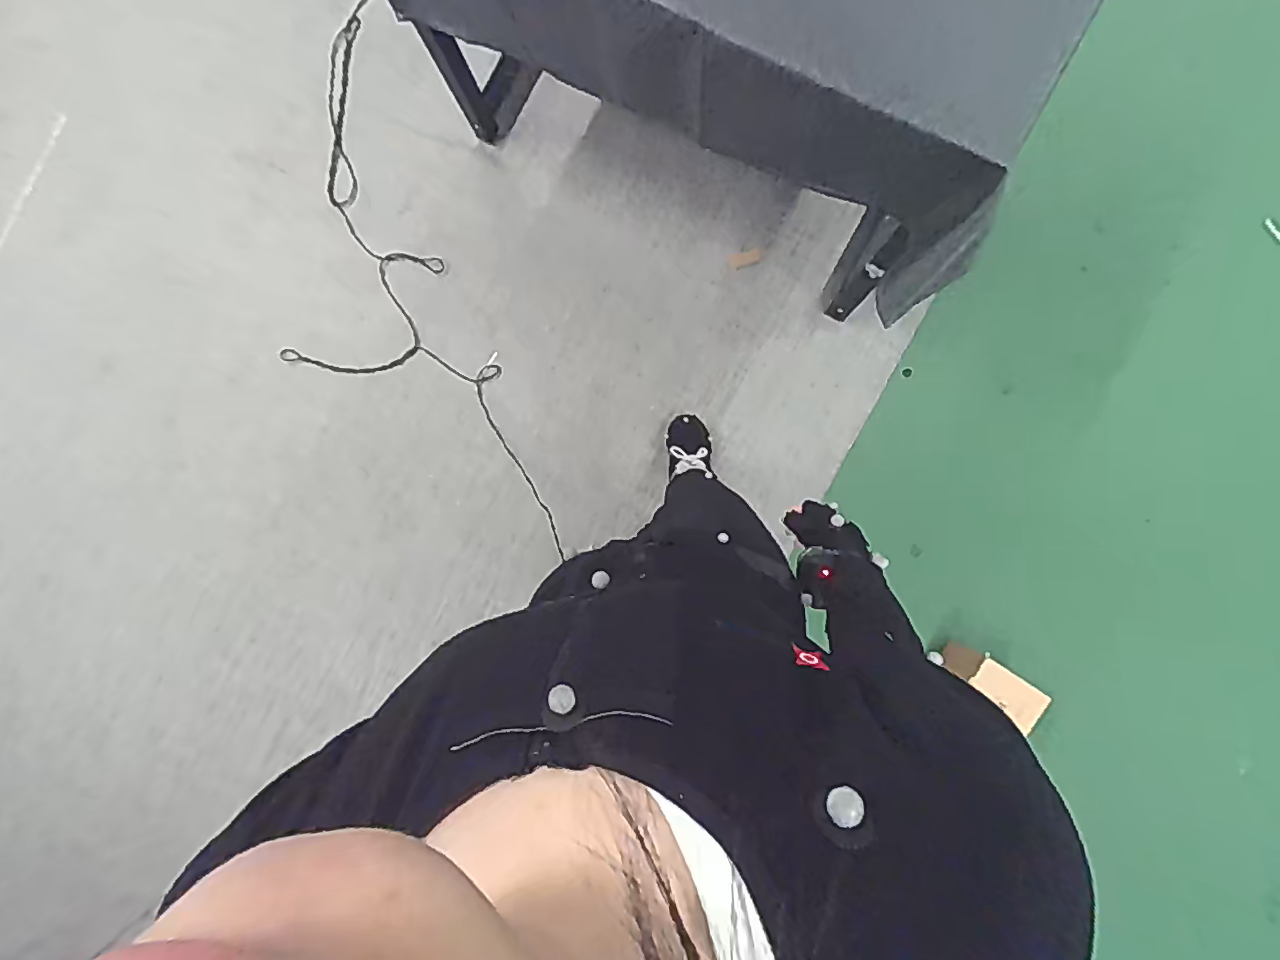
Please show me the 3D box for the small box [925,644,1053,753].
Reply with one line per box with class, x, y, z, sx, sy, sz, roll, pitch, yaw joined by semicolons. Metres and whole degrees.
small box;0.854;0.530;1.346;0.179;0.176;0.168;34;91;4
